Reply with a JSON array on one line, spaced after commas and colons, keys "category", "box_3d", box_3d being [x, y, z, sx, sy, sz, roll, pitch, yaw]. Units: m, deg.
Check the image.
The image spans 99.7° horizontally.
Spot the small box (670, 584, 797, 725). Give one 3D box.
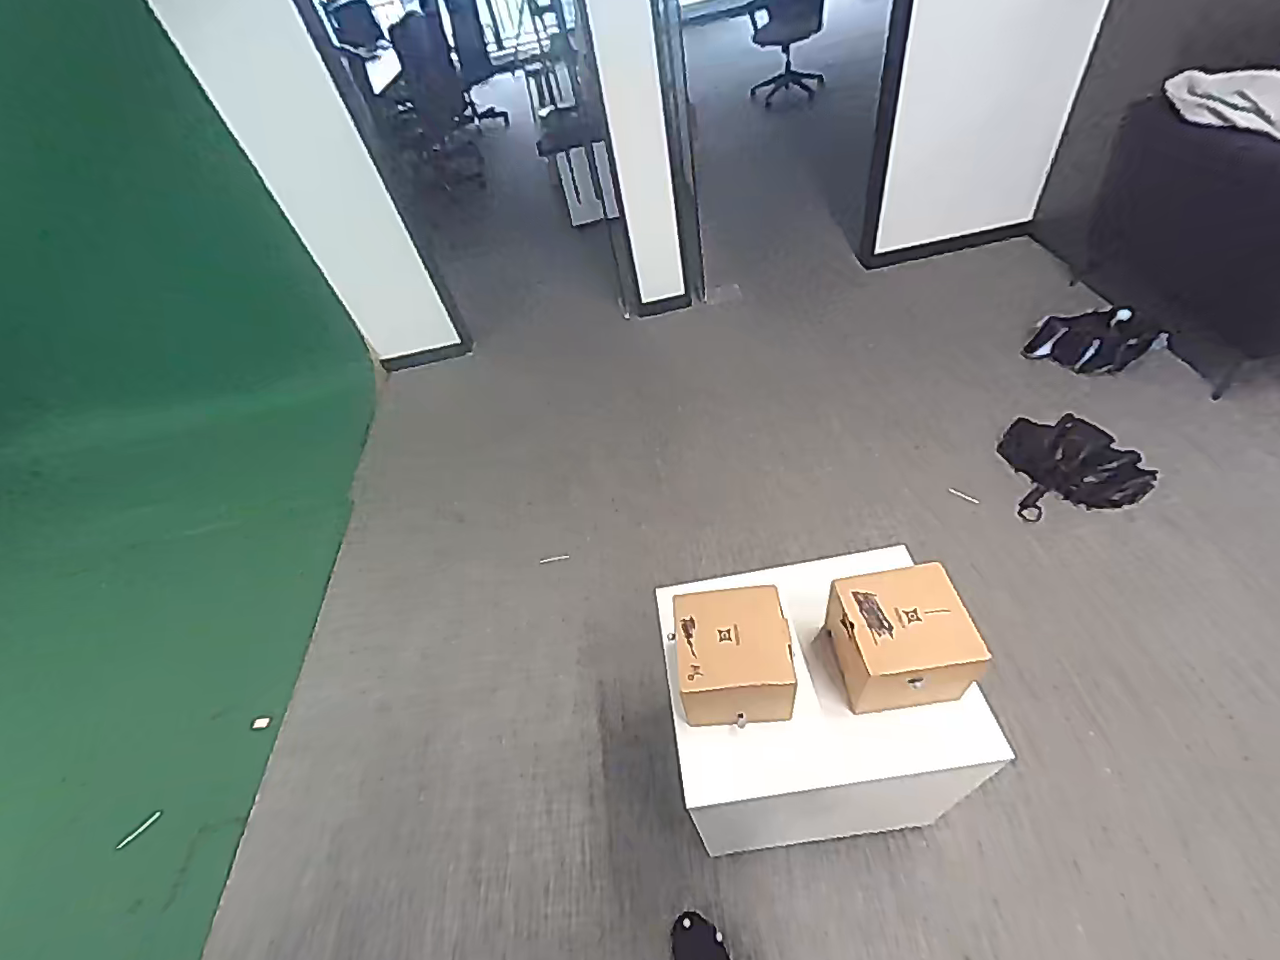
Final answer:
[{"category": "small box", "box_3d": [0.143, 0.289, 0.889, 0.179, 0.176, 0.168, -5, 47, 2]}]

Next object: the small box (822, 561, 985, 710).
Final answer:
[{"category": "small box", "box_3d": [0.406, 0.256, 0.877, 0.179, 0.176, 0.168, -9, 48, 1]}]
